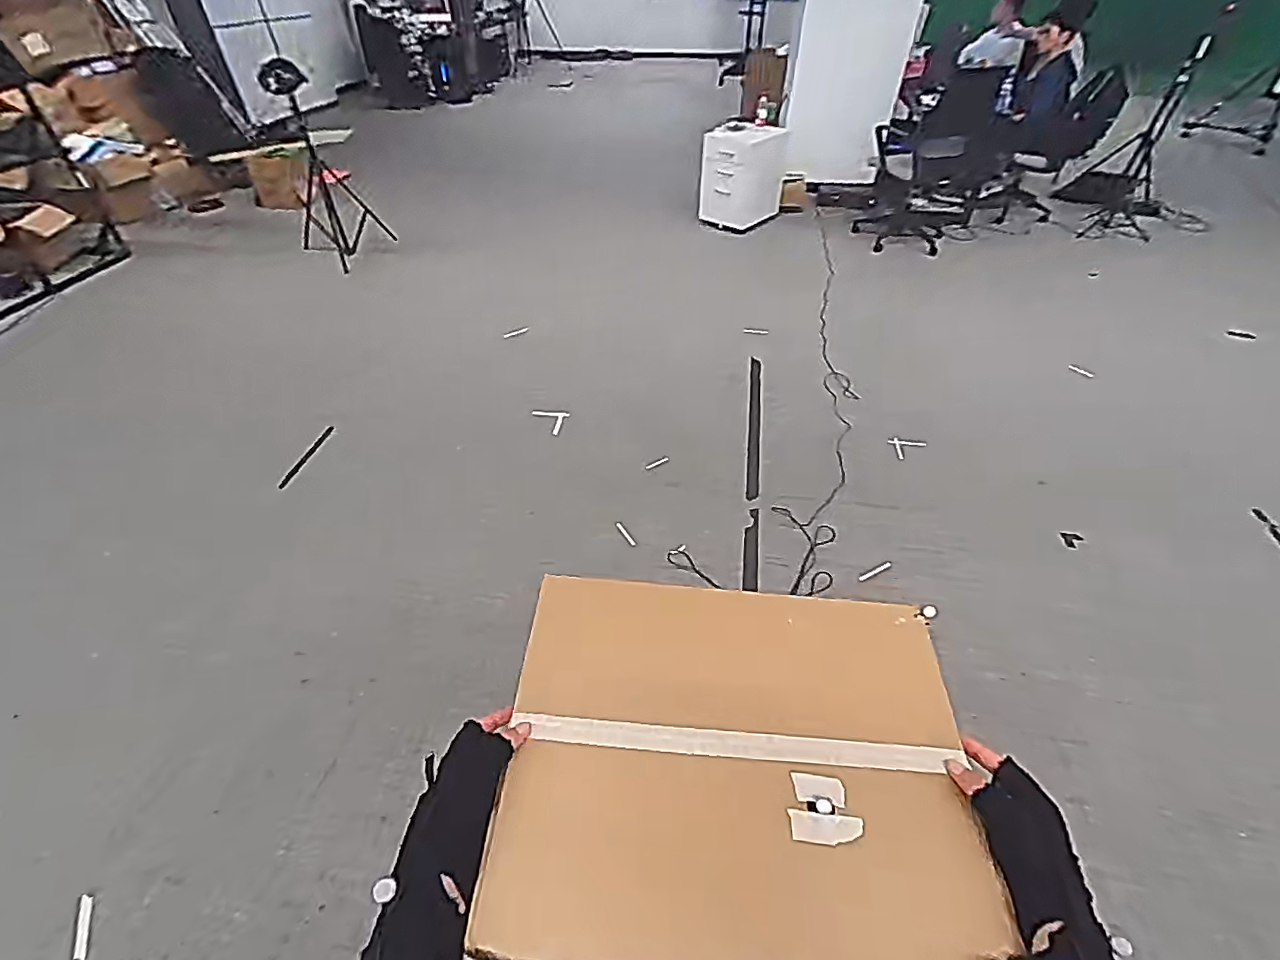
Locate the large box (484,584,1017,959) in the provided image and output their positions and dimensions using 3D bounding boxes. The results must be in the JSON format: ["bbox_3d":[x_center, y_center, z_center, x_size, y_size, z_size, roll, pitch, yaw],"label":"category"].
[{"bbox_3d":[0.082,0.340,0.601,0.408,0.320,0.320,5,49,1],"label":"large box"}]
